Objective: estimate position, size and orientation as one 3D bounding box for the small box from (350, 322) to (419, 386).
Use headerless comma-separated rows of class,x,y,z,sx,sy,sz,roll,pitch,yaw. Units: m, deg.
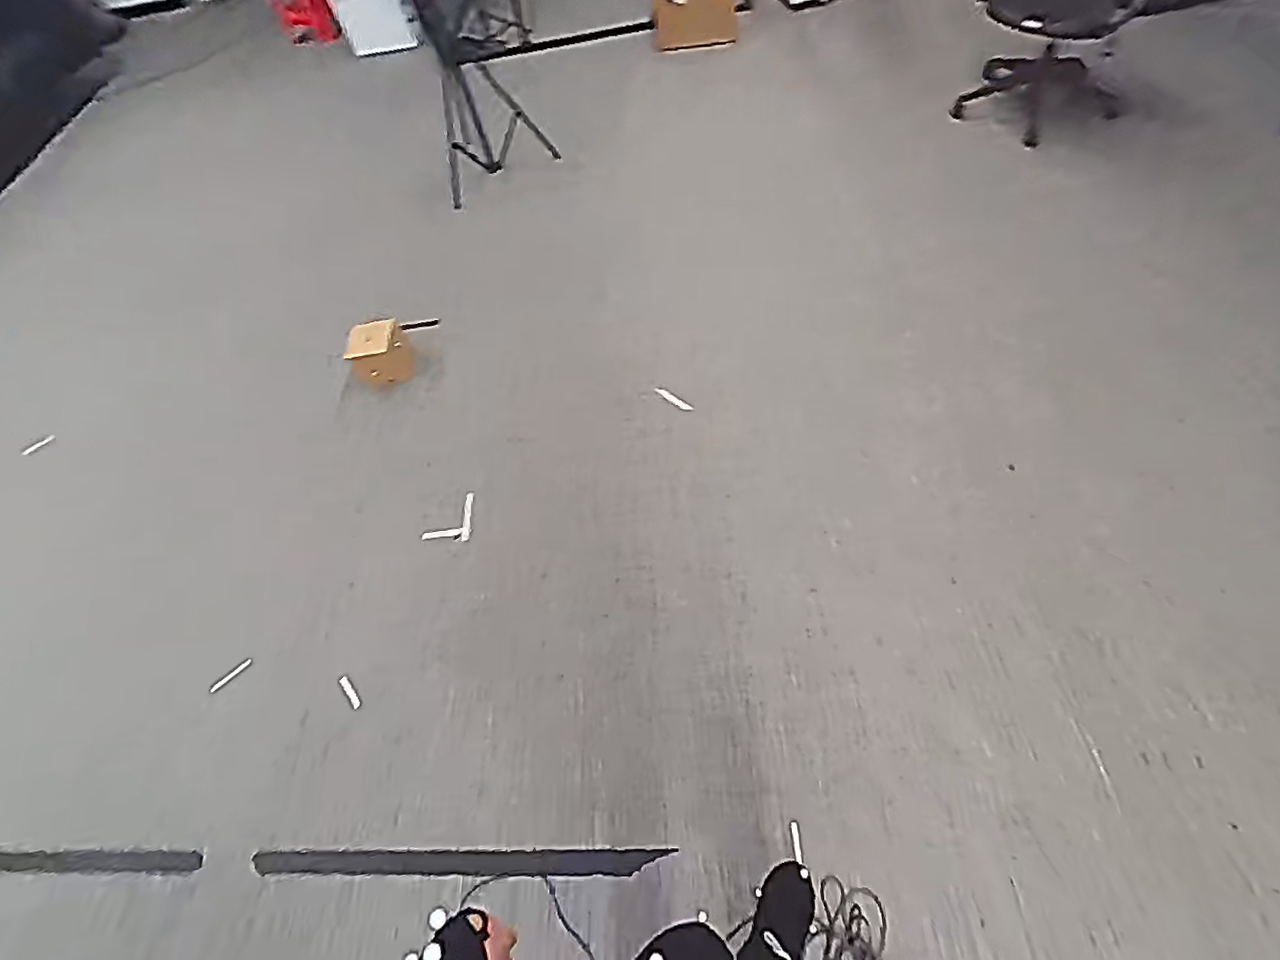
small box,-0.978,-0.479,2.088,0.168,0.176,0.179,-7,58,5
